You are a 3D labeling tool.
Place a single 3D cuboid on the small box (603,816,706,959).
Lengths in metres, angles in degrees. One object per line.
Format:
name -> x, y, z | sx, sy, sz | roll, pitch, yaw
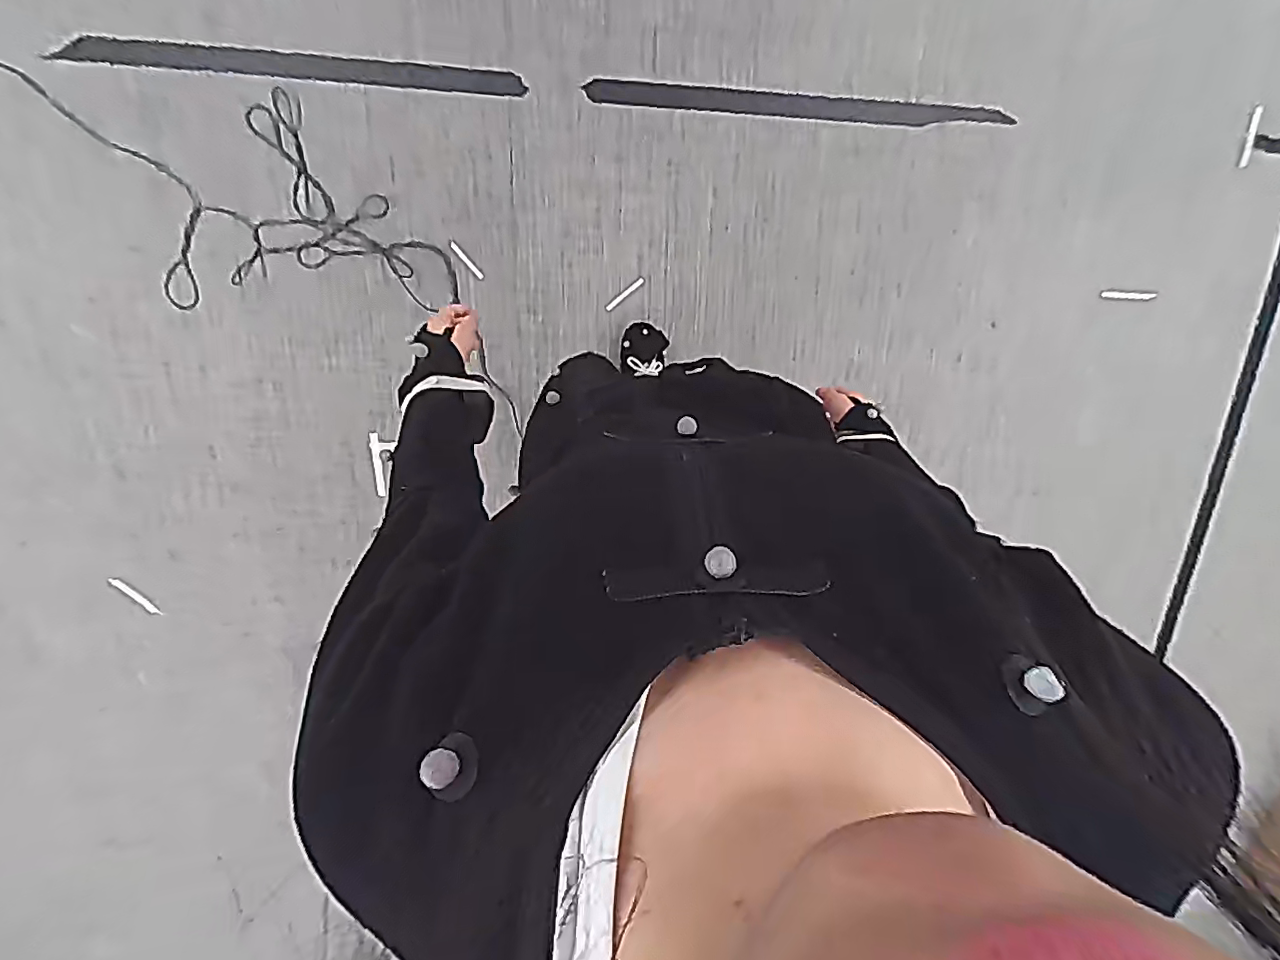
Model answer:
small box -> 0.019, 0.775, 1.027 | 0.168, 0.176, 0.179 | 6, 105, -5
